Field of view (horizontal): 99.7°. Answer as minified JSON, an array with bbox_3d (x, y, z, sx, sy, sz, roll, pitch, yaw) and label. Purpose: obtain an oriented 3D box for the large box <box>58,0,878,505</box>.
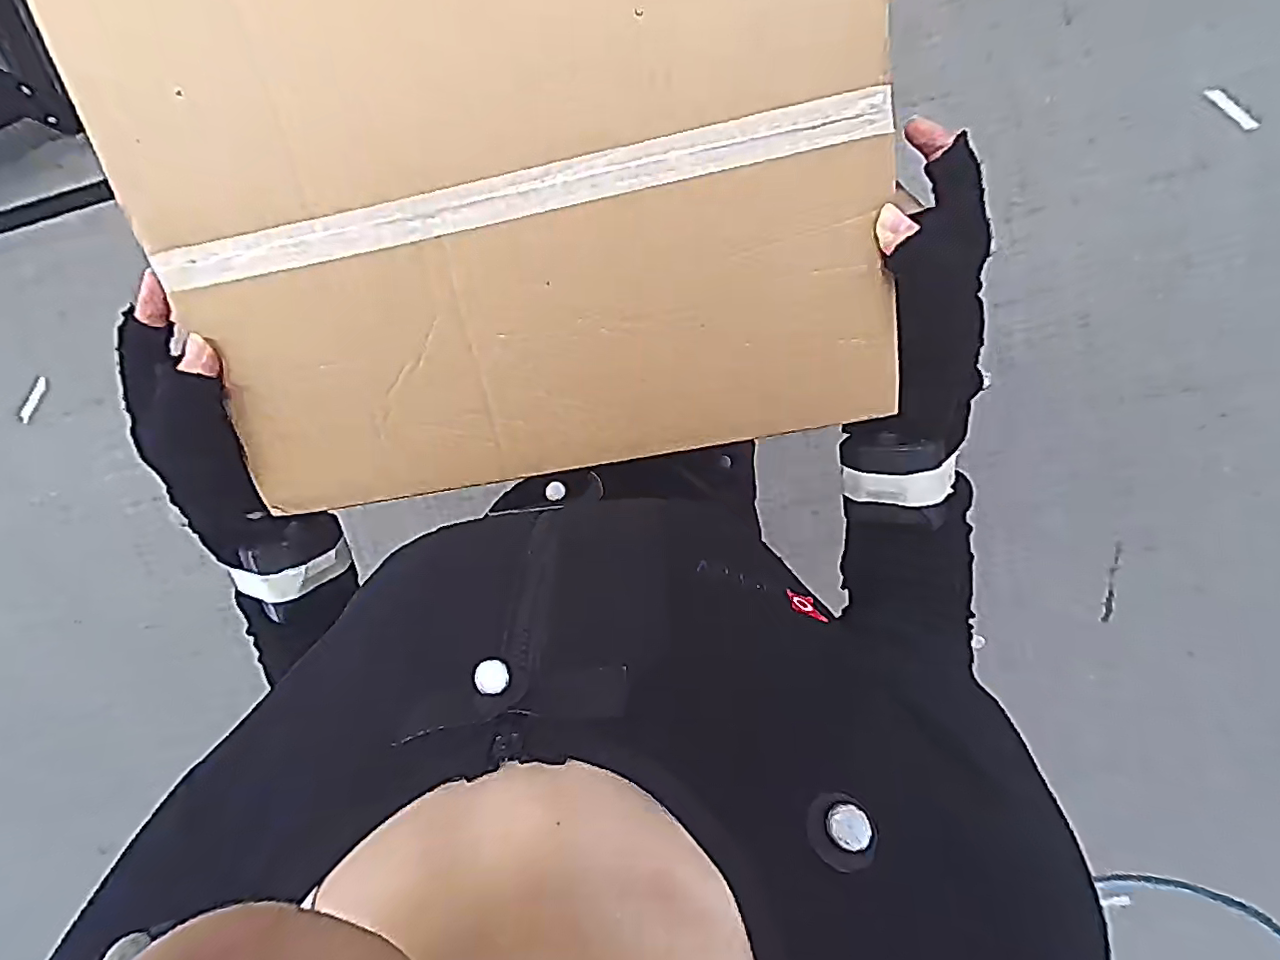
[{"bbox_3d":[-0.069,-0.210,0.439,0.408,0.320,0.320,-9,110,6],"label":"large box"}]
